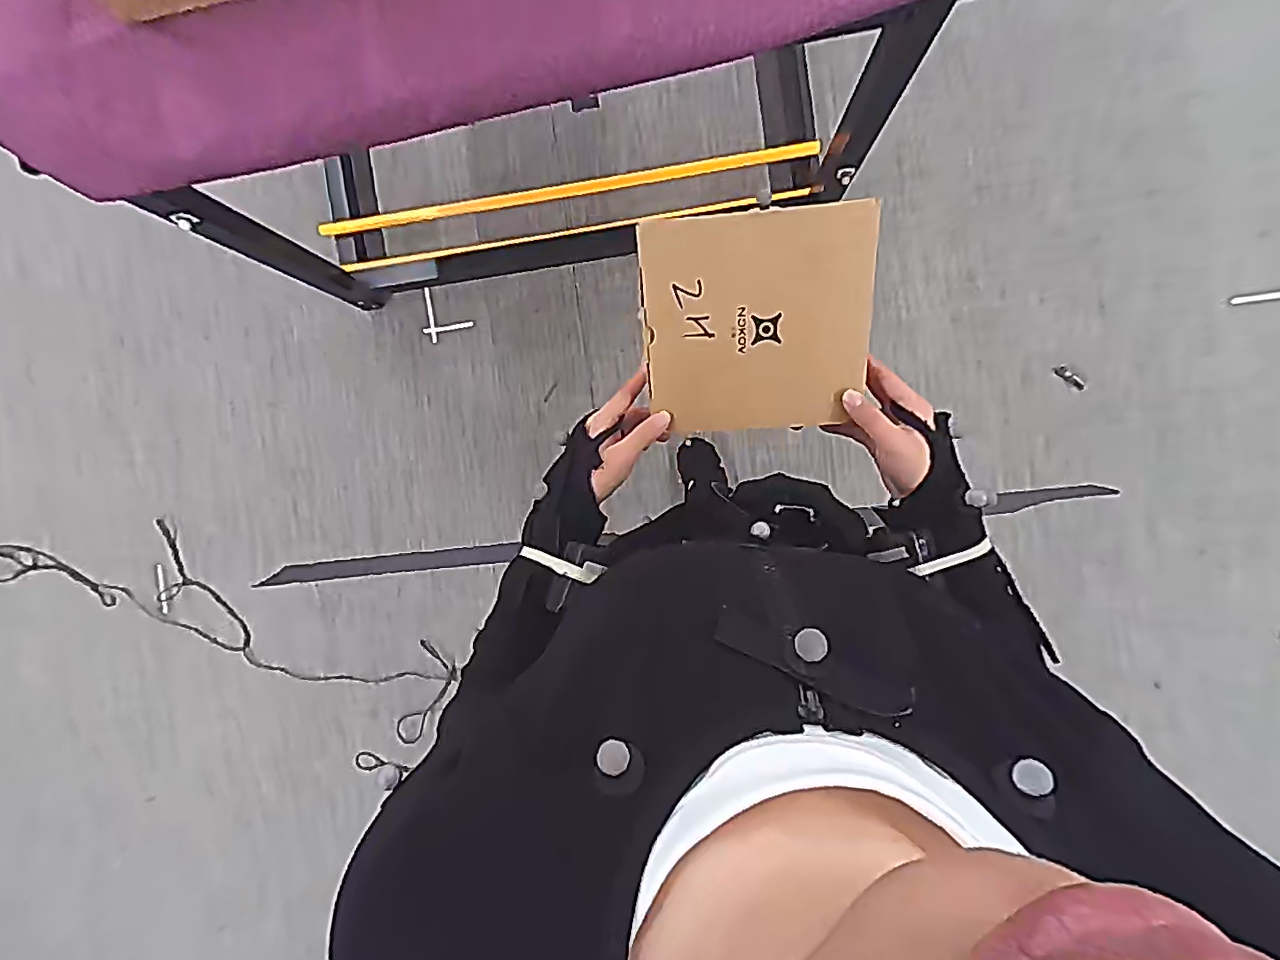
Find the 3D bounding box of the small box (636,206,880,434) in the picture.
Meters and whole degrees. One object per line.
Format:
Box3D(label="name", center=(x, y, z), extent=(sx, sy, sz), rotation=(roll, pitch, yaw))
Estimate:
Box3D(label="small box", center=(0.095, -0.149, 0.491), extent=(0.179, 0.176, 0.168), rotation=(-2, 114, 7))
